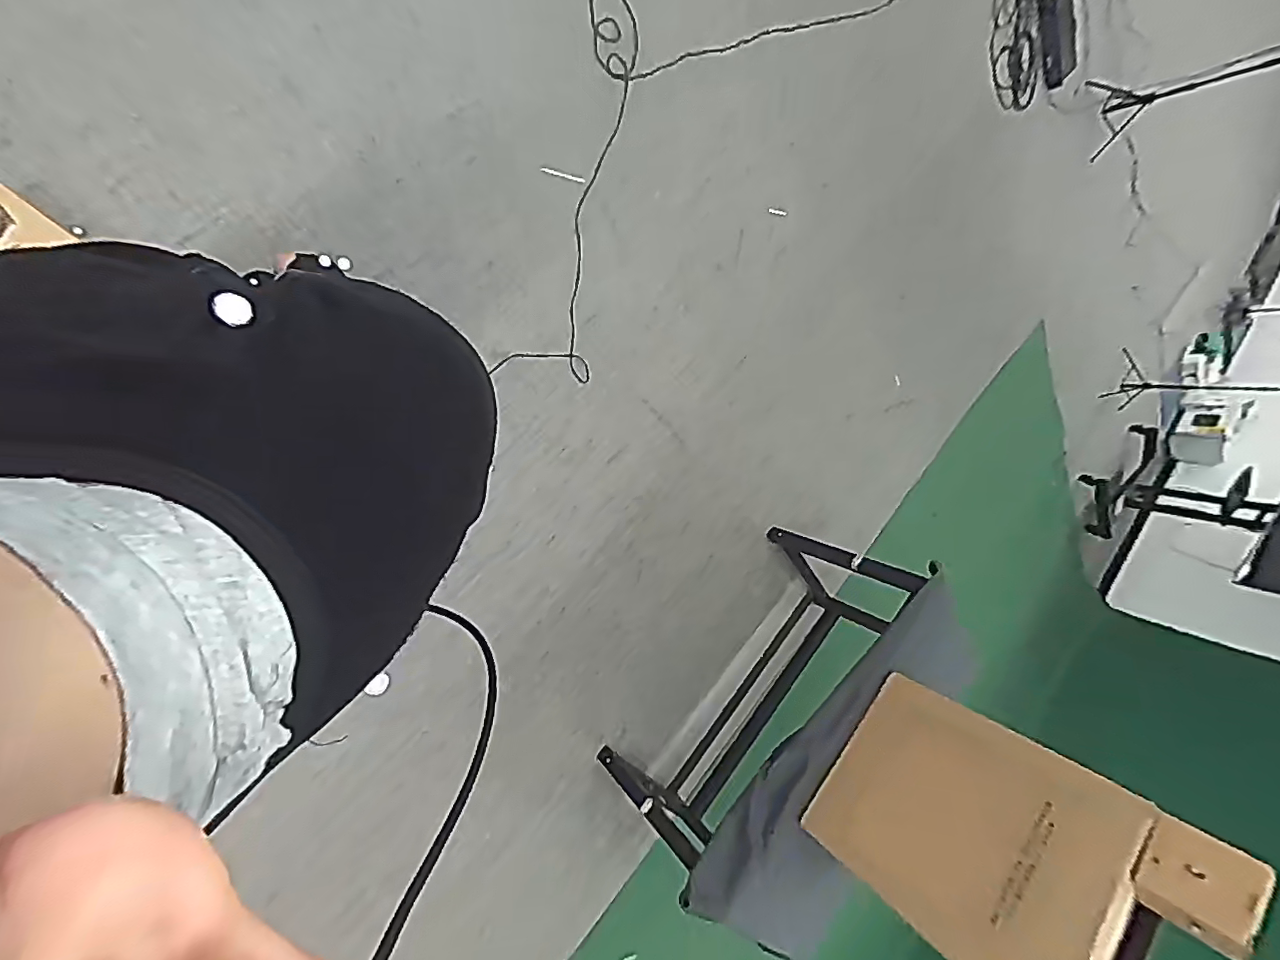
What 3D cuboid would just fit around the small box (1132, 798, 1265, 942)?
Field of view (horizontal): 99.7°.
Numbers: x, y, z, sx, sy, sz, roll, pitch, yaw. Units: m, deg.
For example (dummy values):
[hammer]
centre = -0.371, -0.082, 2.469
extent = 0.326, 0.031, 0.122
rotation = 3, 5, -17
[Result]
[small box]
centre = 1.188, 0.822, 1.156
extent = 0.168, 0.176, 0.179
rotation = -50, 122, -16
